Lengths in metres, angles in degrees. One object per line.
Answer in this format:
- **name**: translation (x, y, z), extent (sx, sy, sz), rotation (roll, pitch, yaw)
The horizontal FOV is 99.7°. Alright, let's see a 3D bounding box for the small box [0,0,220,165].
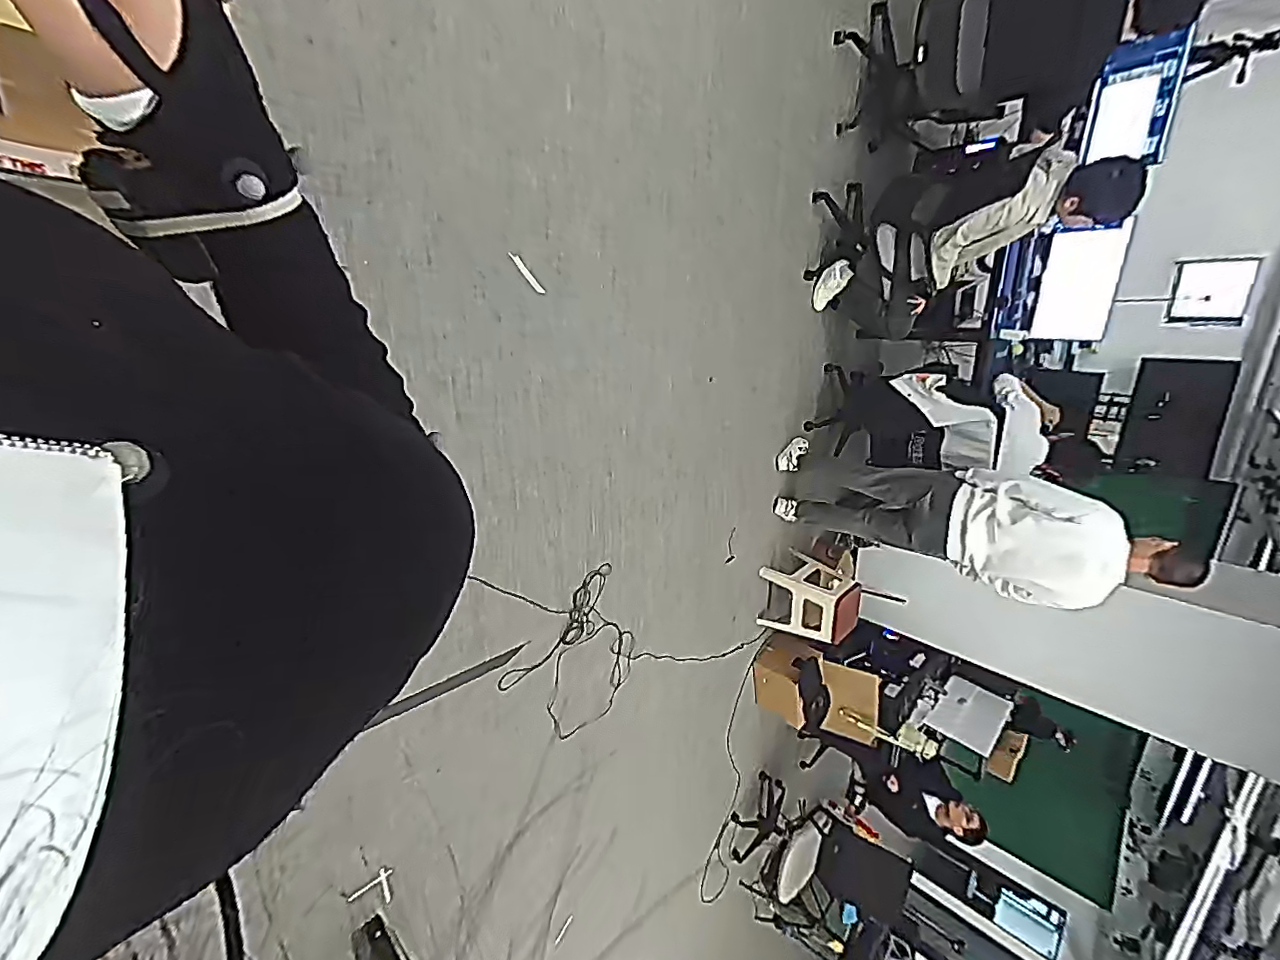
- **small box**: translation (-0.630, -0.480, 0.629), extent (0.179, 0.176, 0.168), rotation (-18, 116, -44)
